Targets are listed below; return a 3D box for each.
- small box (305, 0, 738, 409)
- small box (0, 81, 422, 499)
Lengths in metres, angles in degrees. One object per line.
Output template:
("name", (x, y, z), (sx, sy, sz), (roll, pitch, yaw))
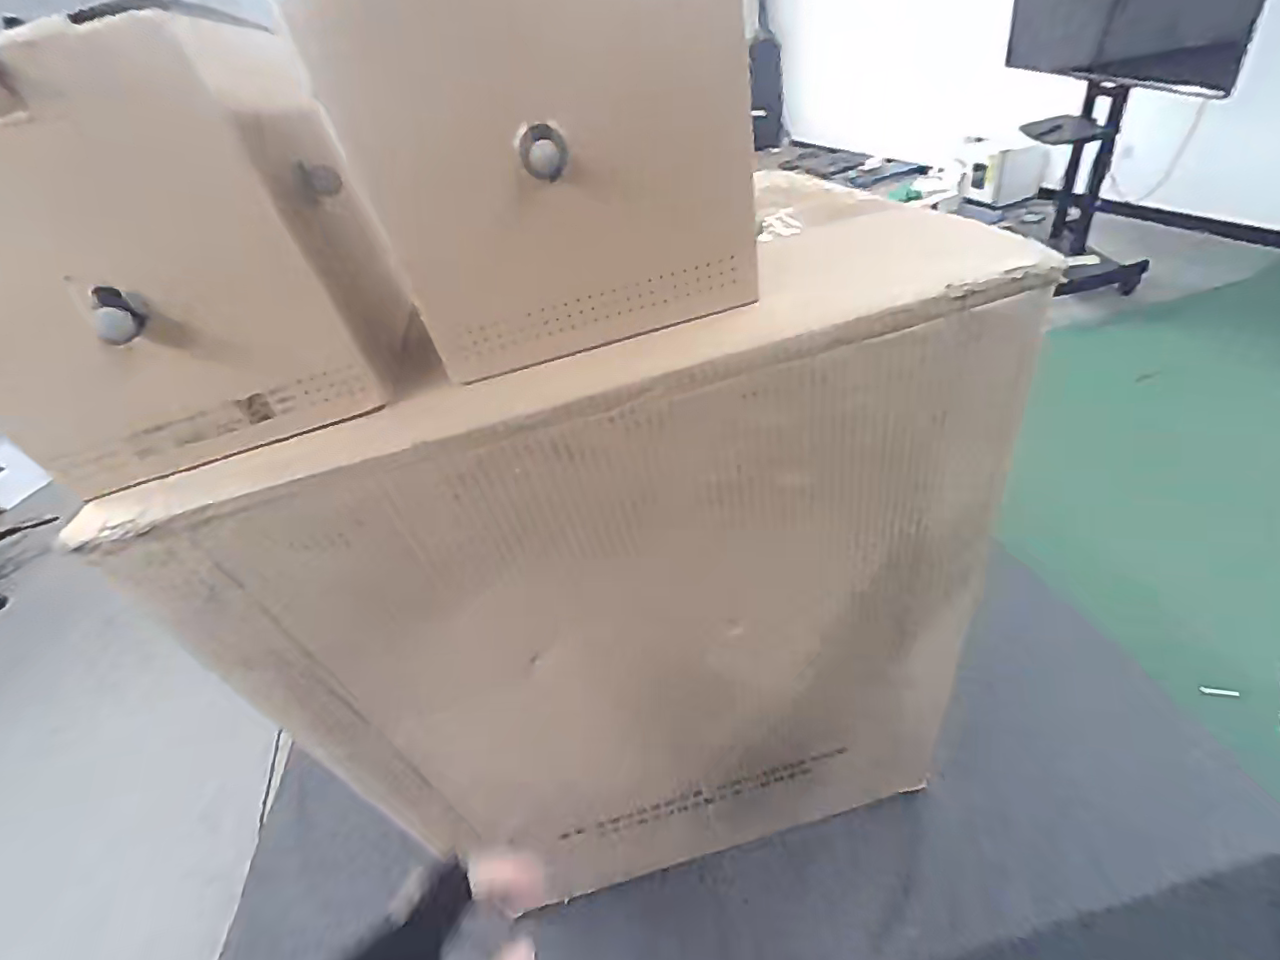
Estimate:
("small box", (-0.047, -0.168, 0.324), (0.179, 0.176, 0.168), (-16, 39, -1))
("small box", (-0.246, -0.109, 0.320), (0.168, 0.176, 0.179), (-21, 39, -5))
